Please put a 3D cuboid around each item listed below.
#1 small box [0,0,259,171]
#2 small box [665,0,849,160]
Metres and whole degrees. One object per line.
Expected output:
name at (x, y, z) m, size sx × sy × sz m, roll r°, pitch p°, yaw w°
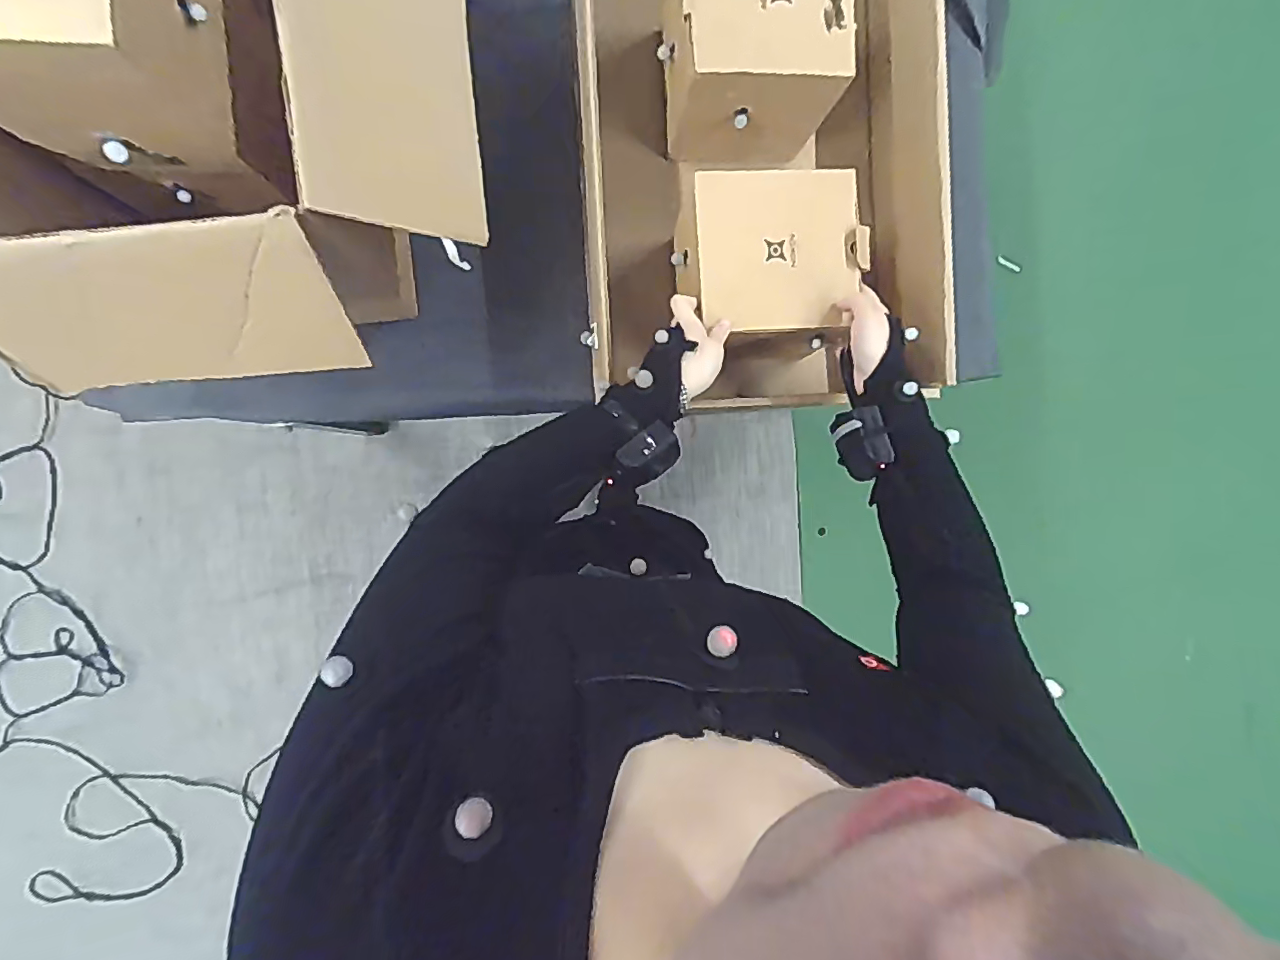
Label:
small box at (-0.442, -0.382, 0.433) m, size 0.168 × 0.176 × 0.179 m, roll -2°, pitch 94°, yaw -7°
small box at (0.123, -0.501, 0.634) m, size 0.179 × 0.176 × 0.168 m, roll -3°, pitch 95°, yaw -5°
